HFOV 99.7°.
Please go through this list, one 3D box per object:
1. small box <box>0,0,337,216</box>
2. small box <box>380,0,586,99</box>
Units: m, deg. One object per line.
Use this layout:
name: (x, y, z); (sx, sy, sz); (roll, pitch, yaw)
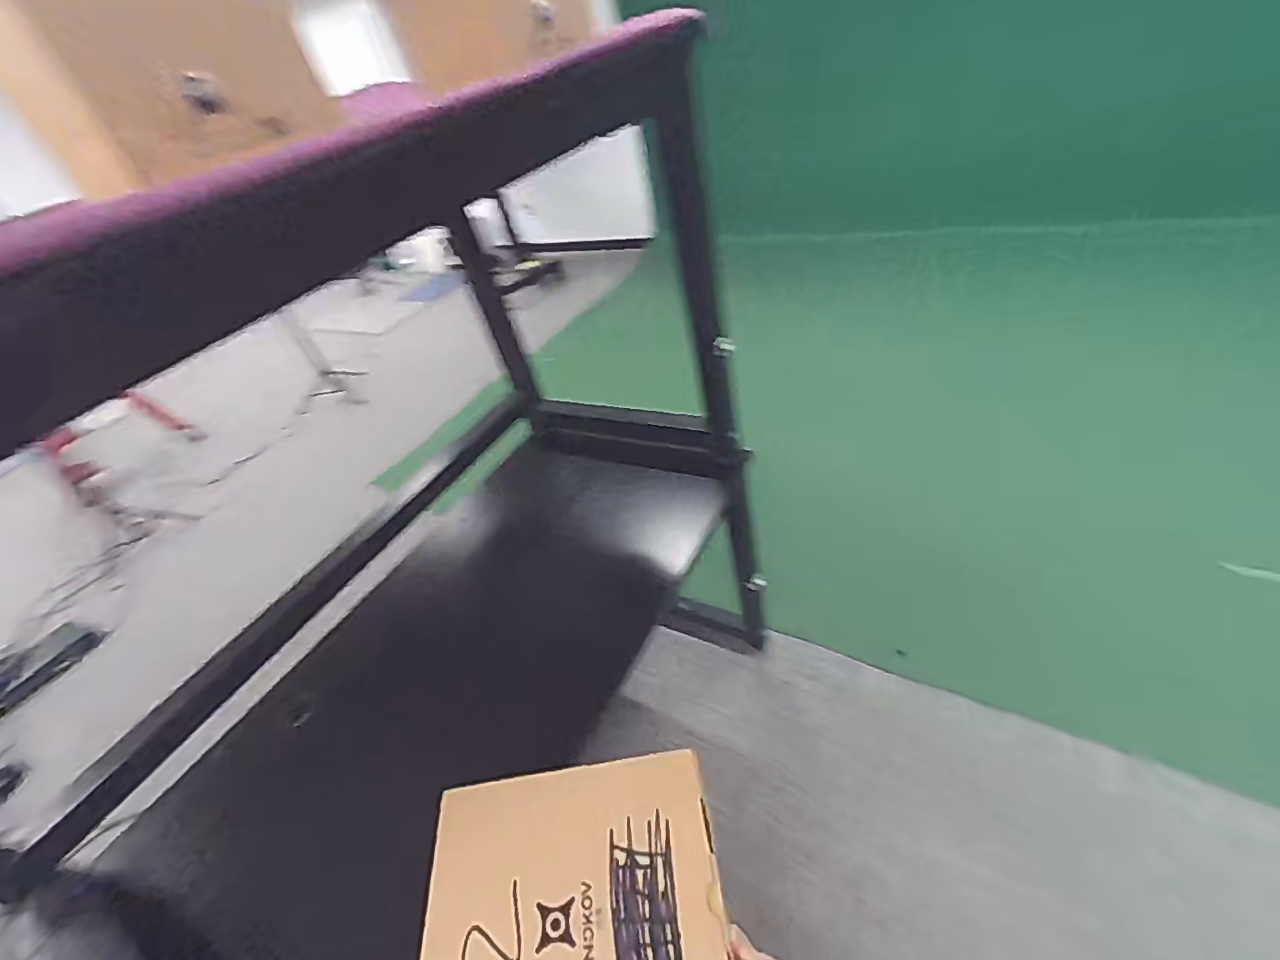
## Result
small box: (-0.386, -0.319, 0.419); (0.179, 0.176, 0.168); (14, 49, 33)
small box: (-0.194, -0.573, 0.638); (0.179, 0.176, 0.168); (17, 51, 33)
